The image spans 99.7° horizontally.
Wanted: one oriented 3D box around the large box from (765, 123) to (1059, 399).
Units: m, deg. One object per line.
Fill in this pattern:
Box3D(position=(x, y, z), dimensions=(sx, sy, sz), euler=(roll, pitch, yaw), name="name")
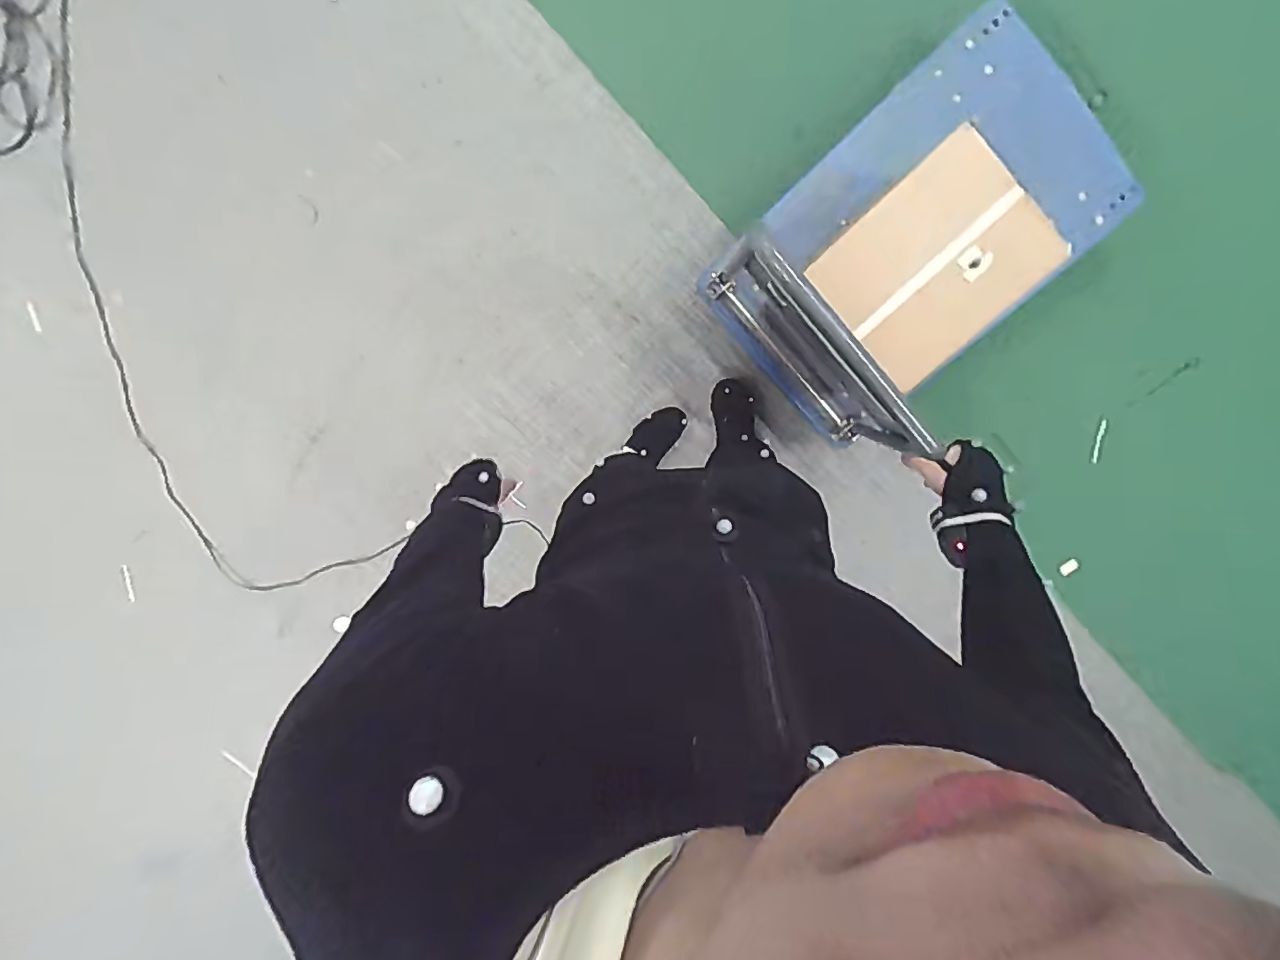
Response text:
Box3D(position=(0.537, -0.426, 1.159), dimensions=(0.408, 0.320, 0.320), euler=(-42, 97, 11), name="large box")
